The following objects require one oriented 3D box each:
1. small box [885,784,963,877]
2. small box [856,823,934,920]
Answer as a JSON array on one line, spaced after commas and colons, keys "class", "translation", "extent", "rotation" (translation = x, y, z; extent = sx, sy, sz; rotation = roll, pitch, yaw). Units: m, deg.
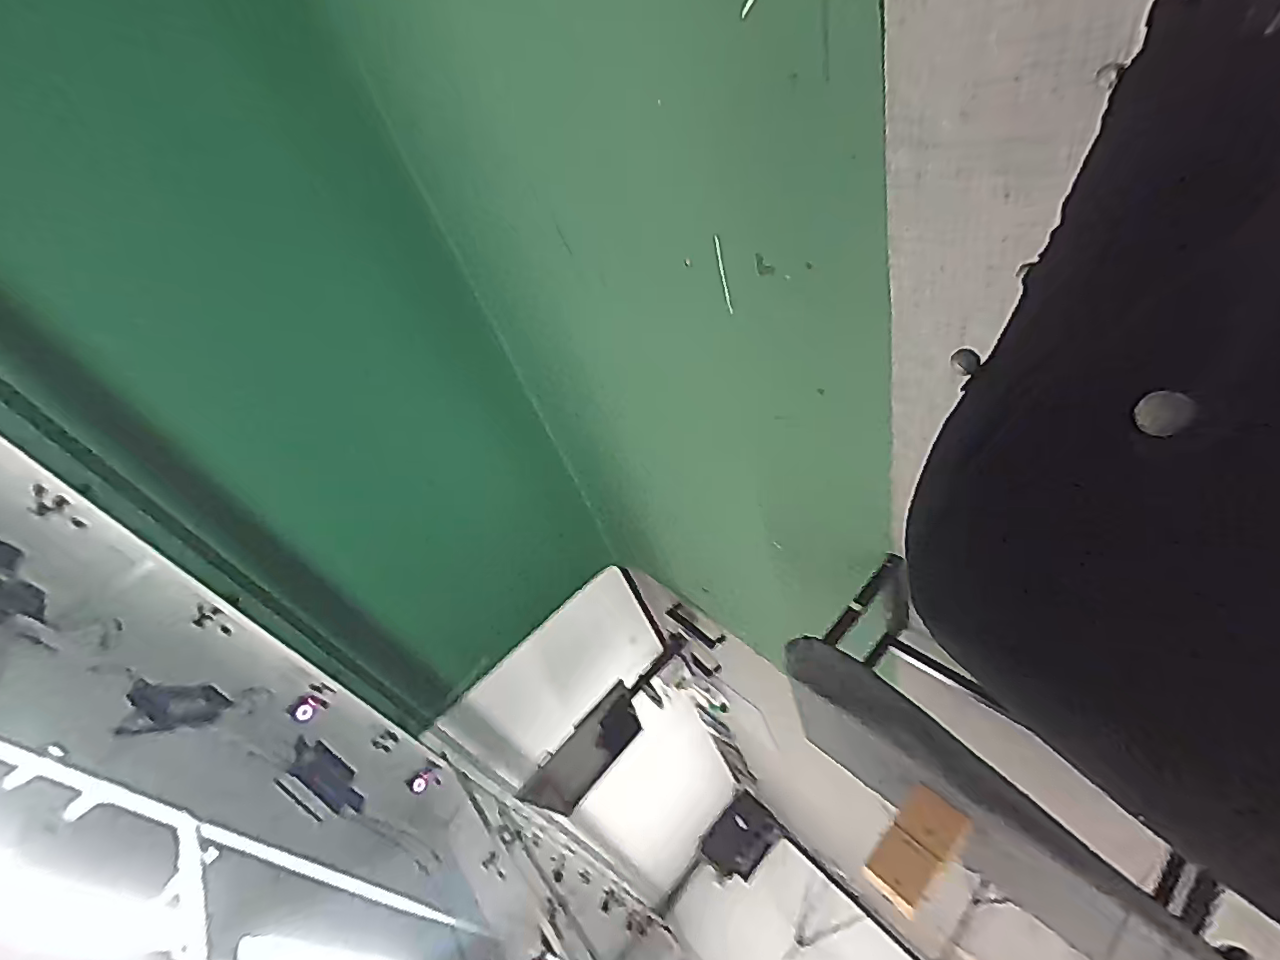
[{"class": "small box", "translation": [0.943, 1.158, 1.792], "extent": [0.179, 0.176, 0.168], "rotation": [29, 151, 45]}, {"class": "small box", "translation": [0.824, 1.256, 1.743], "extent": [0.168, 0.176, 0.179], "rotation": [29, 151, 46]}]
